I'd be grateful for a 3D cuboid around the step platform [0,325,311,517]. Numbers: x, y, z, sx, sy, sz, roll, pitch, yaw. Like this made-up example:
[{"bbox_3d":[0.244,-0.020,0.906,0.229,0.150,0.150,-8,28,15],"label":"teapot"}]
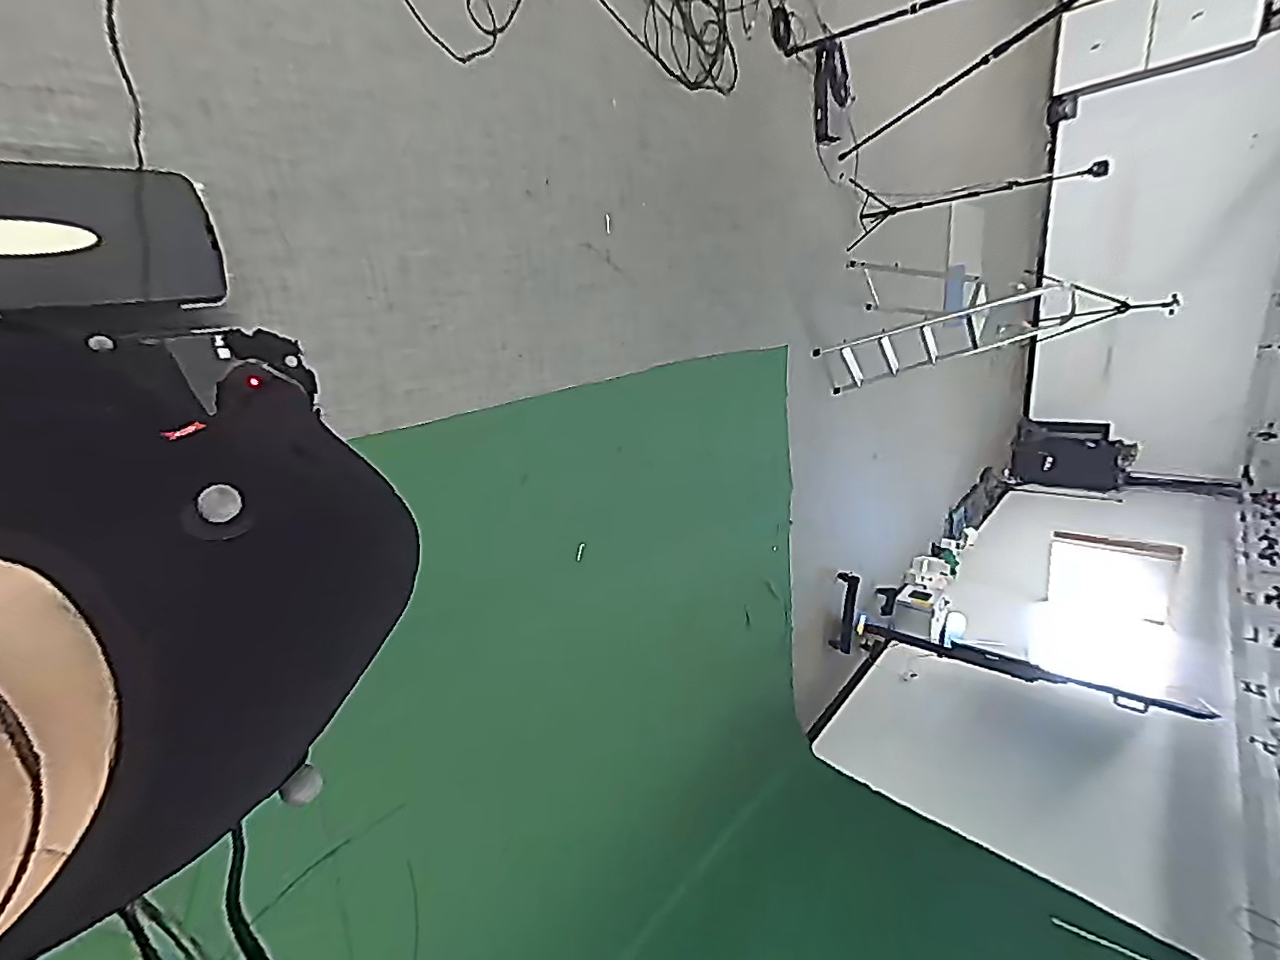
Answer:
[{"bbox_3d":[-1.024,-0.104,0.992,0.684,0.204,0.286,-24,114,-43],"label":"step platform"}]
